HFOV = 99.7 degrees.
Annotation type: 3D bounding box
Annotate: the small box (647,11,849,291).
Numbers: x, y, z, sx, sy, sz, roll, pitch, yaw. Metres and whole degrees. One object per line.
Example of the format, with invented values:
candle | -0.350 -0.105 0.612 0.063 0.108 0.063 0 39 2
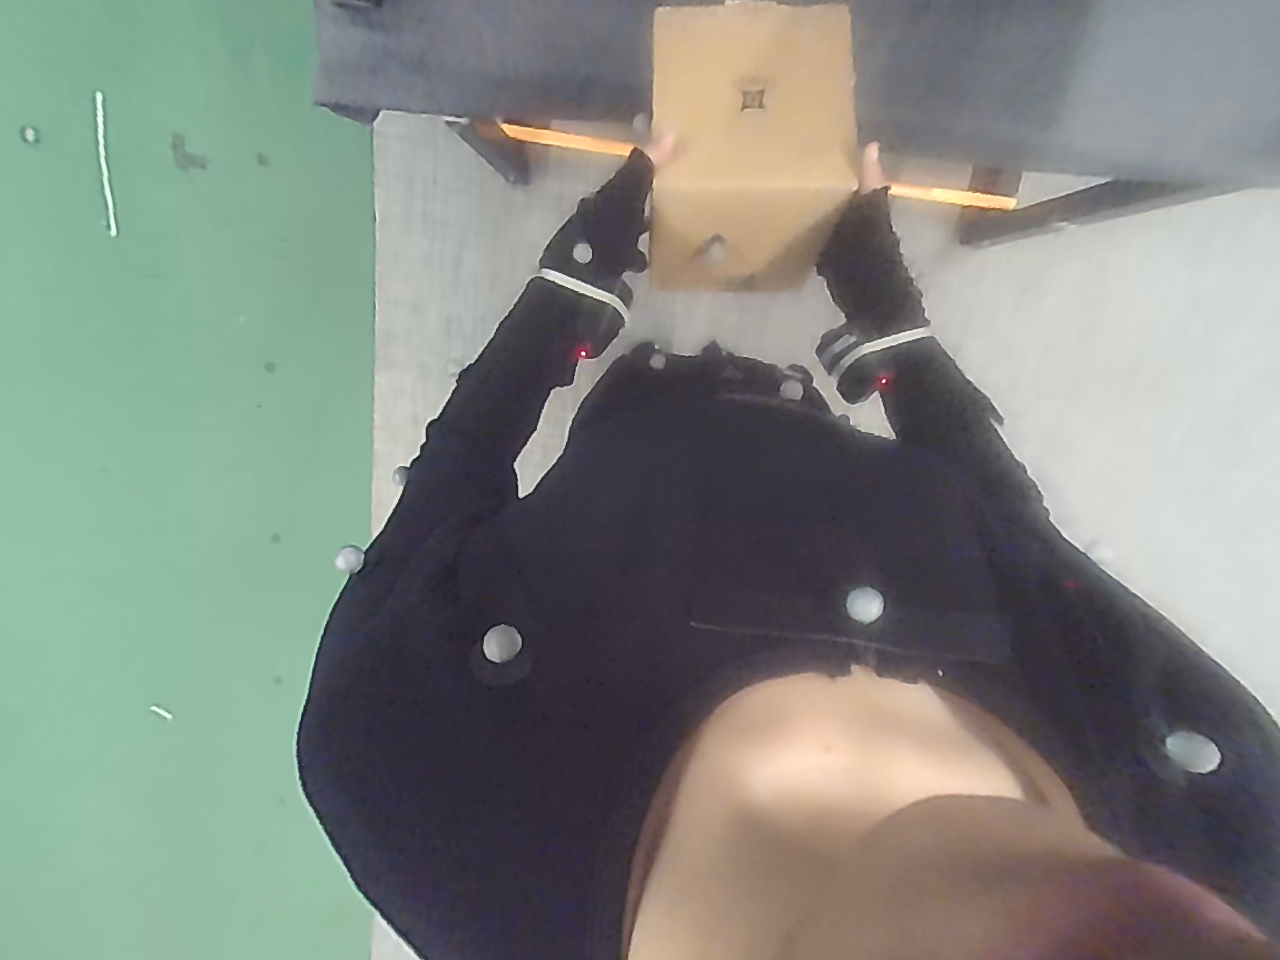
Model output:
small box | 0.092 -0.303 0.531 0.168 0.176 0.179 0 78 1
